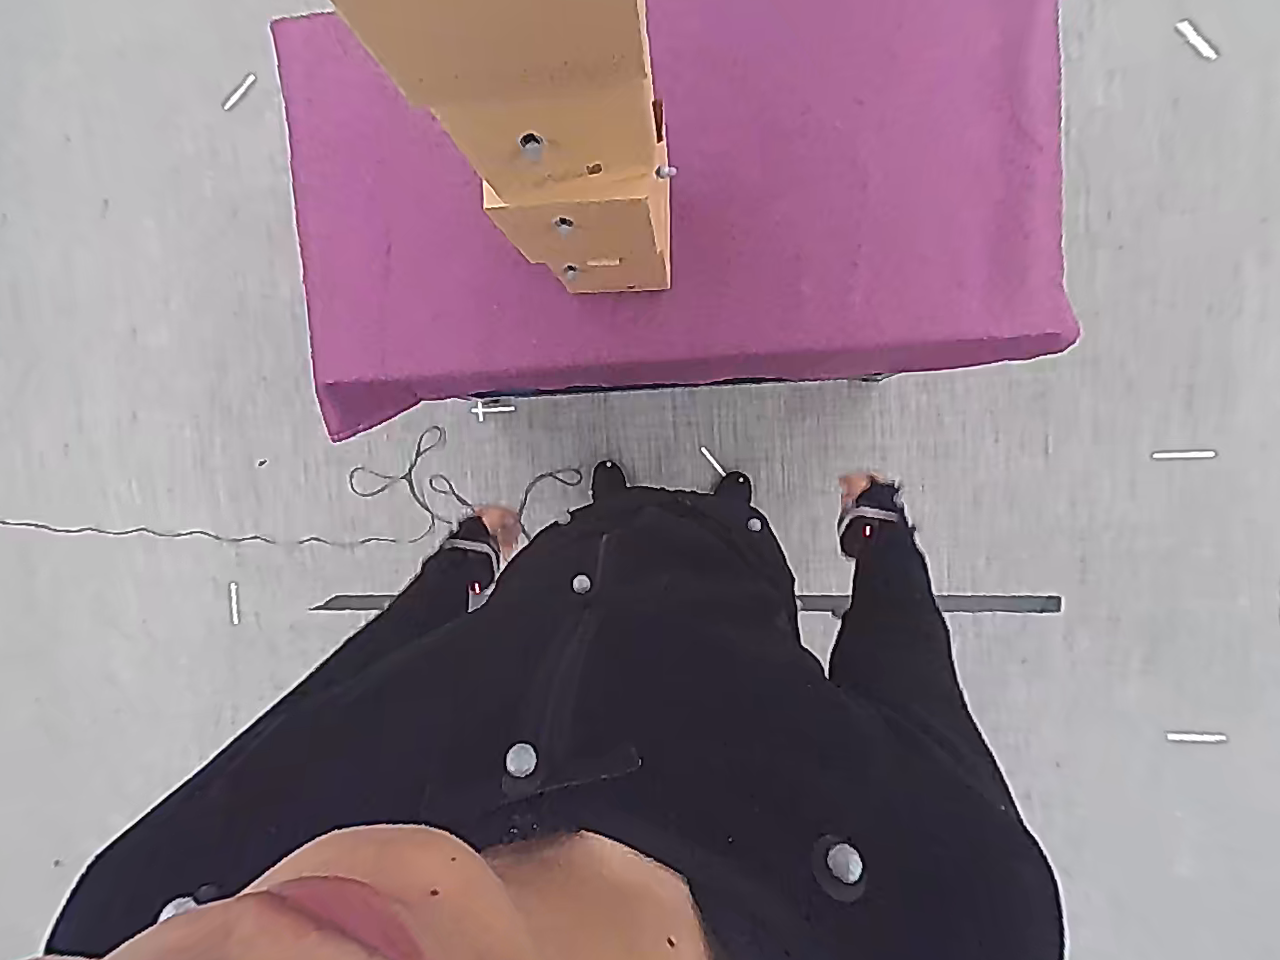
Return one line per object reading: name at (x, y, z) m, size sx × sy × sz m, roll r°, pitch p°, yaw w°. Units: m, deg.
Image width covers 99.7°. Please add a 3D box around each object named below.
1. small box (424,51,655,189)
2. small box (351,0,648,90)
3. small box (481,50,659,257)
small box at (-0.082, -0.380, 0.468) m, size 0.168 × 0.176 × 0.179 m, roll -8°, pitch 91°, yaw 6°
small box at (-0.091, -0.358, 0.304) m, size 0.179 × 0.176 × 0.168 m, roll -2°, pitch 92°, yaw 5°
small box at (-0.072, -0.371, 0.630) m, size 0.179 × 0.176 × 0.168 m, roll 0°, pitch 94°, yaw 5°
